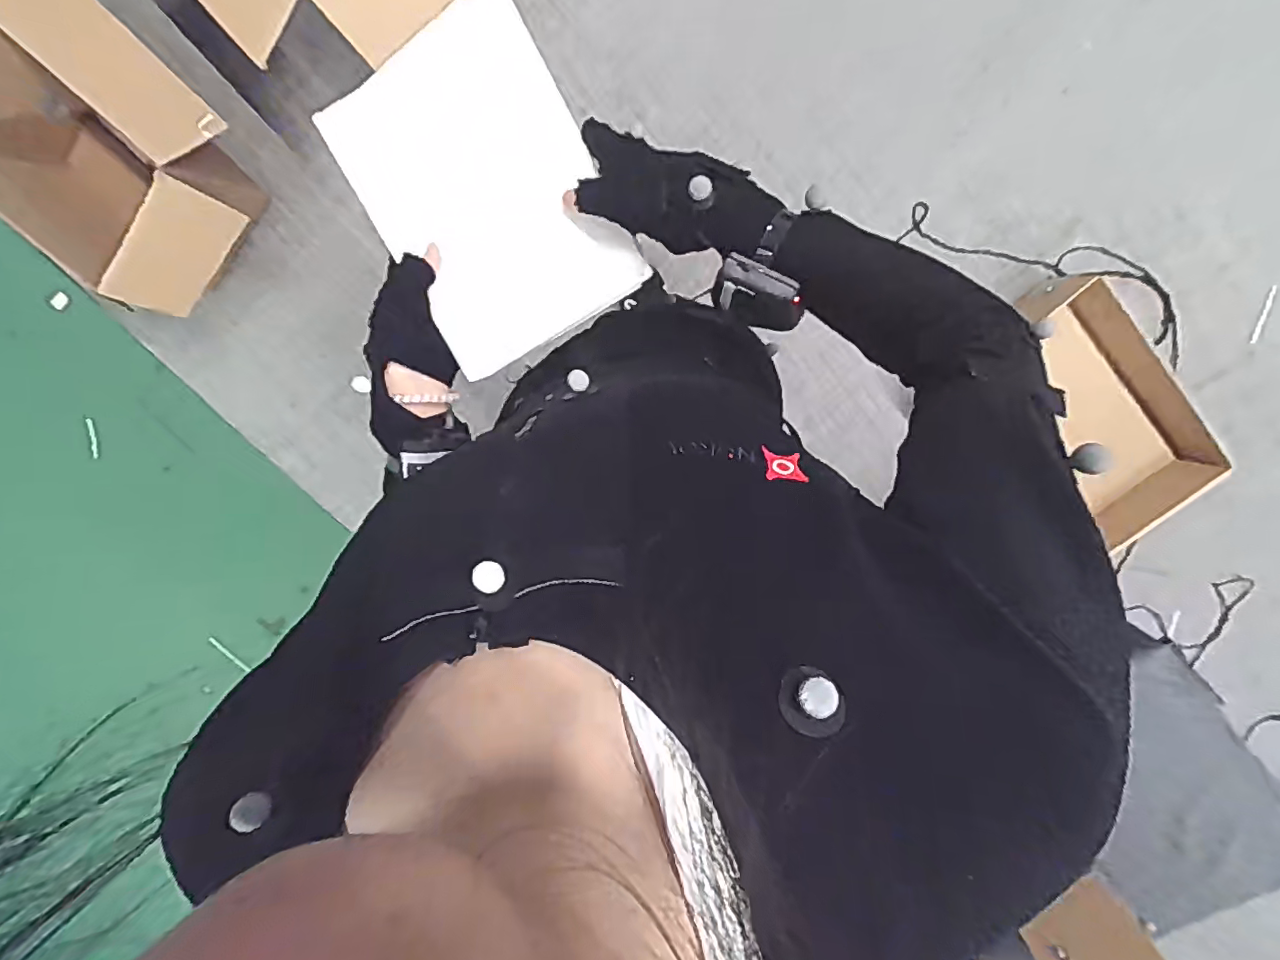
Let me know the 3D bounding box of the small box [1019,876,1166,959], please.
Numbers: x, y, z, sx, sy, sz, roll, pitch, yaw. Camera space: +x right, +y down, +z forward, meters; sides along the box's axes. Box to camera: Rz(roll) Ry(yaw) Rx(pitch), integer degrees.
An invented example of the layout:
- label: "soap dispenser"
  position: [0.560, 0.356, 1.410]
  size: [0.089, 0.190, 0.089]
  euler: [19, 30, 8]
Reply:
- label: "small box"
  position: [0.788, 0.826, 0.913]
  size: [0.179, 0.176, 0.168]
  euler: [-37, 103, 14]
